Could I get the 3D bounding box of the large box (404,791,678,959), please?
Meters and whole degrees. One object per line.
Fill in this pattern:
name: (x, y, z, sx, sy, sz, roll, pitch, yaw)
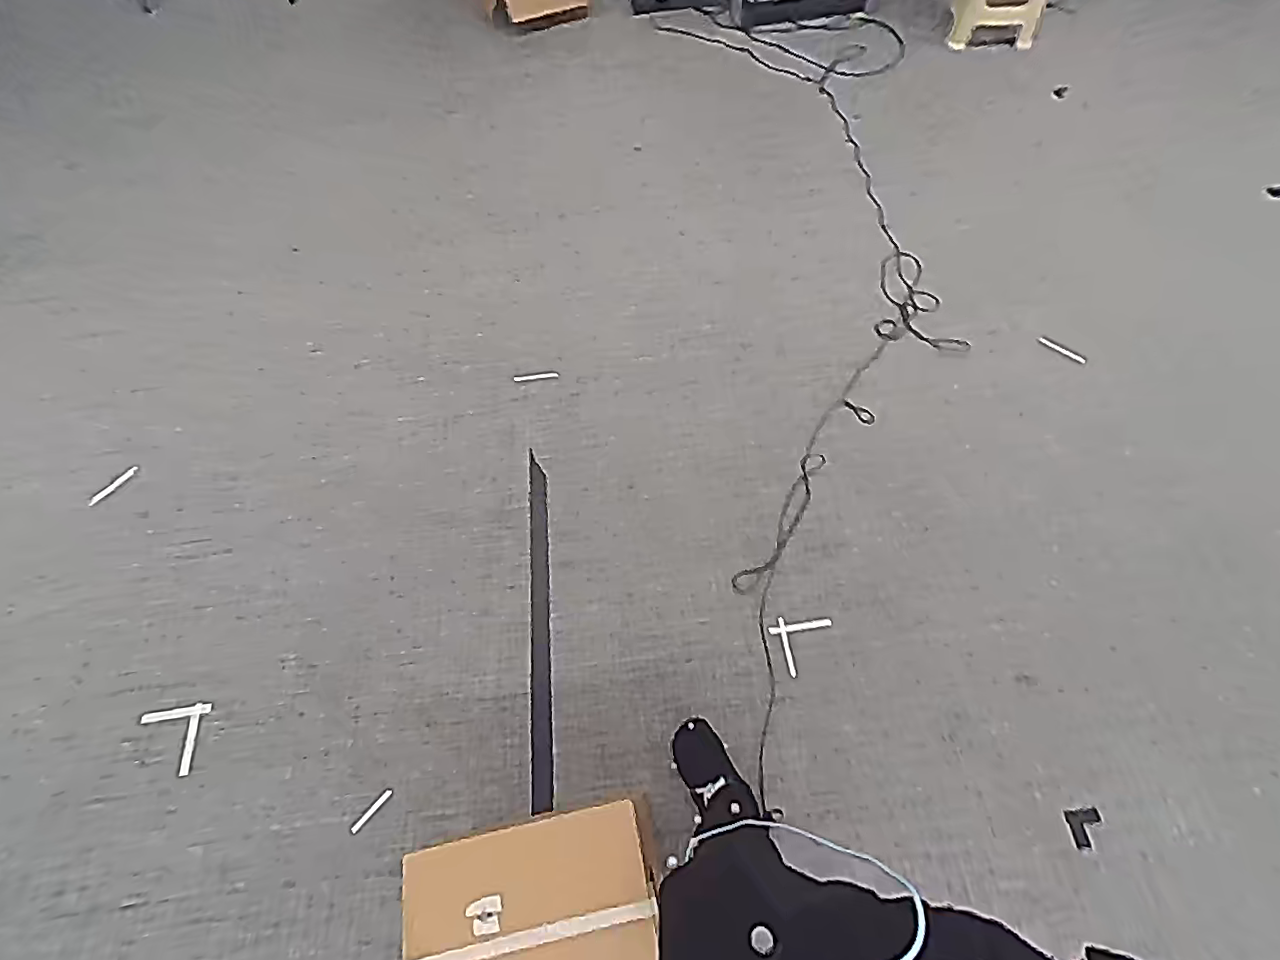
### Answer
large box: (-0.163, 0.799, 0.992, 0.408, 0.320, 0.320, -13, 61, -1)
